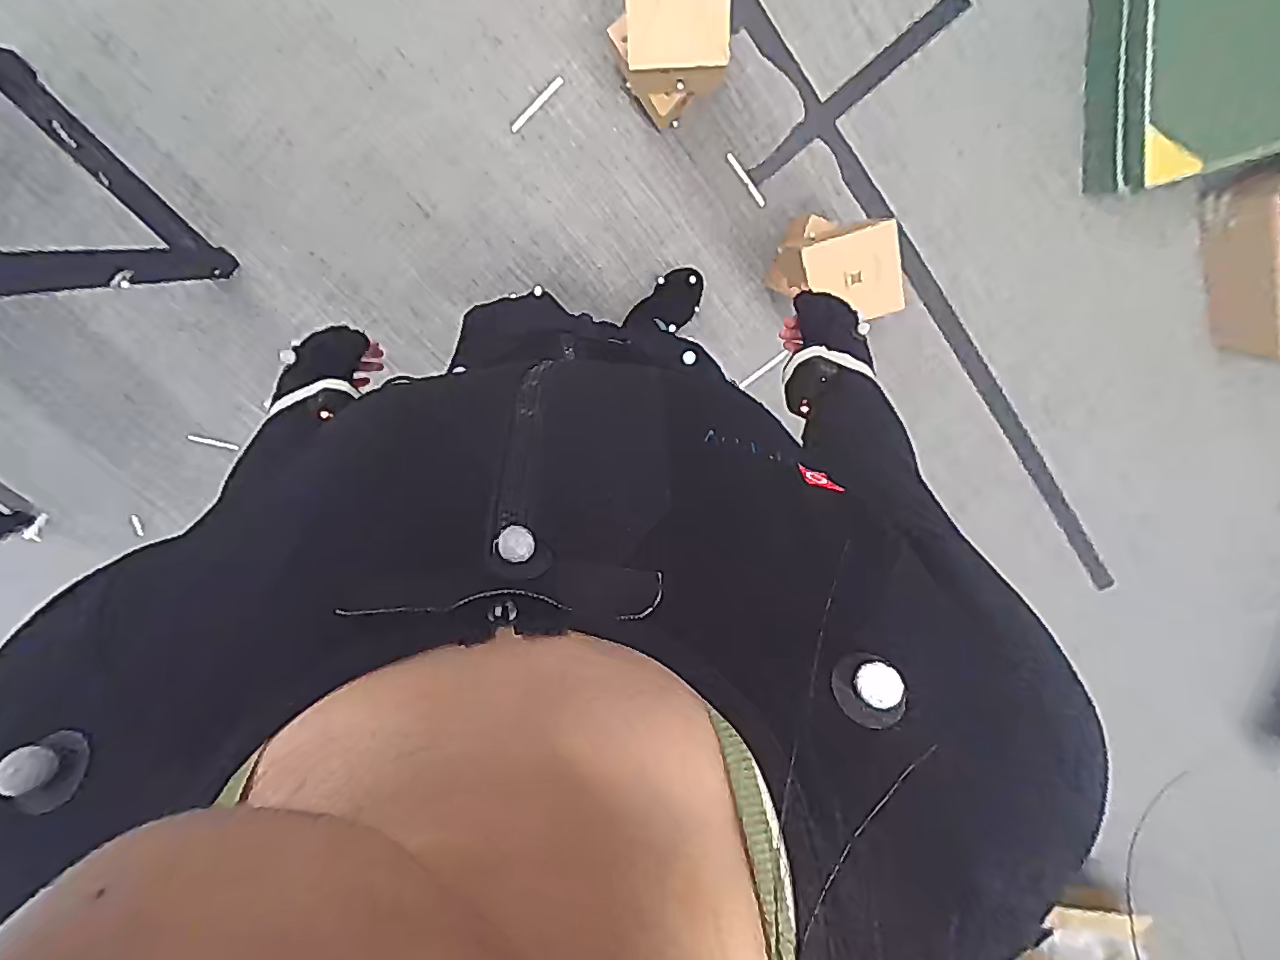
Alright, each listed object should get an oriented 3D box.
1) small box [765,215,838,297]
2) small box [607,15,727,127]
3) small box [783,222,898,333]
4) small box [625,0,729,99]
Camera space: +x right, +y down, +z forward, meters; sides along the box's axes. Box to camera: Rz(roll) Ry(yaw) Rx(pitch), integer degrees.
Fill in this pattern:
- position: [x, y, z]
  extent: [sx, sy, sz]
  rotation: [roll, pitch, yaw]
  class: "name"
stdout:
- position: [0.407, -0.491, 1.246]
  extent: [0.179, 0.176, 0.168]
  rotation: [19, 115, -7]
  class: "small box"
- position: [0.054, -0.850, 1.092]
  extent: [0.168, 0.176, 0.179]
  rotation: [-35, 108, 14]
  class: "small box"
- position: [0.399, -0.414, 1.101]
  extent: [0.179, 0.176, 0.168]
  rotation: [-15, 115, 7]
  class: "small box"
- position: [0.061, -0.789, 0.936]
  extent: [0.168, 0.176, 0.179]
  rotation: [-2, 113, 2]
  class: "small box"
